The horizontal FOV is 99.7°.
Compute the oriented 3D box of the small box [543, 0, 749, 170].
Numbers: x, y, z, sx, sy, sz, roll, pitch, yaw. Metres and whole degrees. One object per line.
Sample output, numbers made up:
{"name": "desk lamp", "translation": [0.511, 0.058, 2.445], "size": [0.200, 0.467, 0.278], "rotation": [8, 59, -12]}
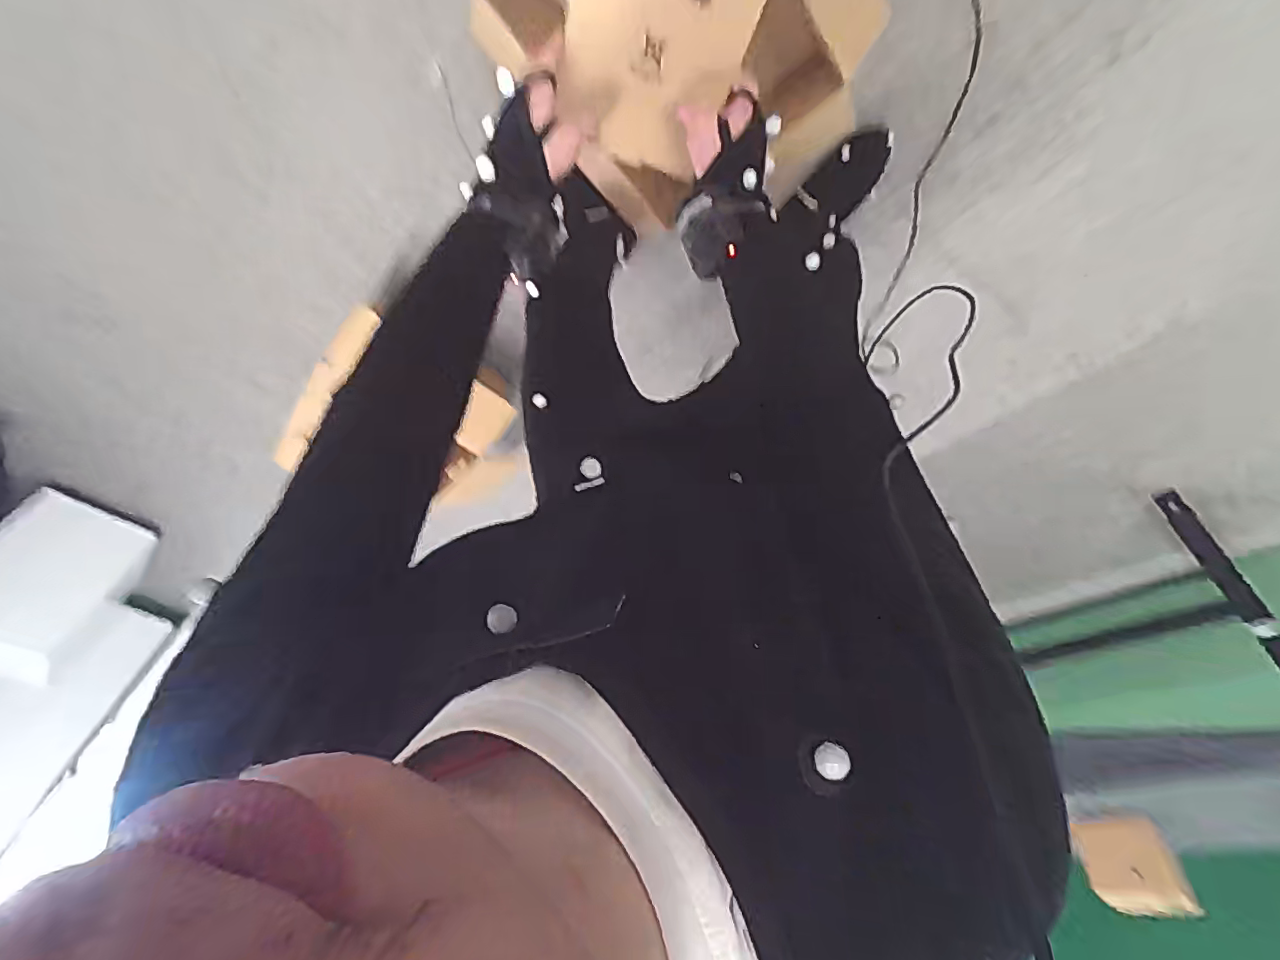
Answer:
{"name": "small box", "translation": [0.006, -0.472, 0.565], "size": [0.168, 0.176, 0.179], "rotation": [13, 141, -11]}

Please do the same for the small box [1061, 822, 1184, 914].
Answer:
{"name": "small box", "translation": [1.261, 1.017, 1.421], "size": [0.179, 0.176, 0.168], "rotation": [-29, 122, 33]}
